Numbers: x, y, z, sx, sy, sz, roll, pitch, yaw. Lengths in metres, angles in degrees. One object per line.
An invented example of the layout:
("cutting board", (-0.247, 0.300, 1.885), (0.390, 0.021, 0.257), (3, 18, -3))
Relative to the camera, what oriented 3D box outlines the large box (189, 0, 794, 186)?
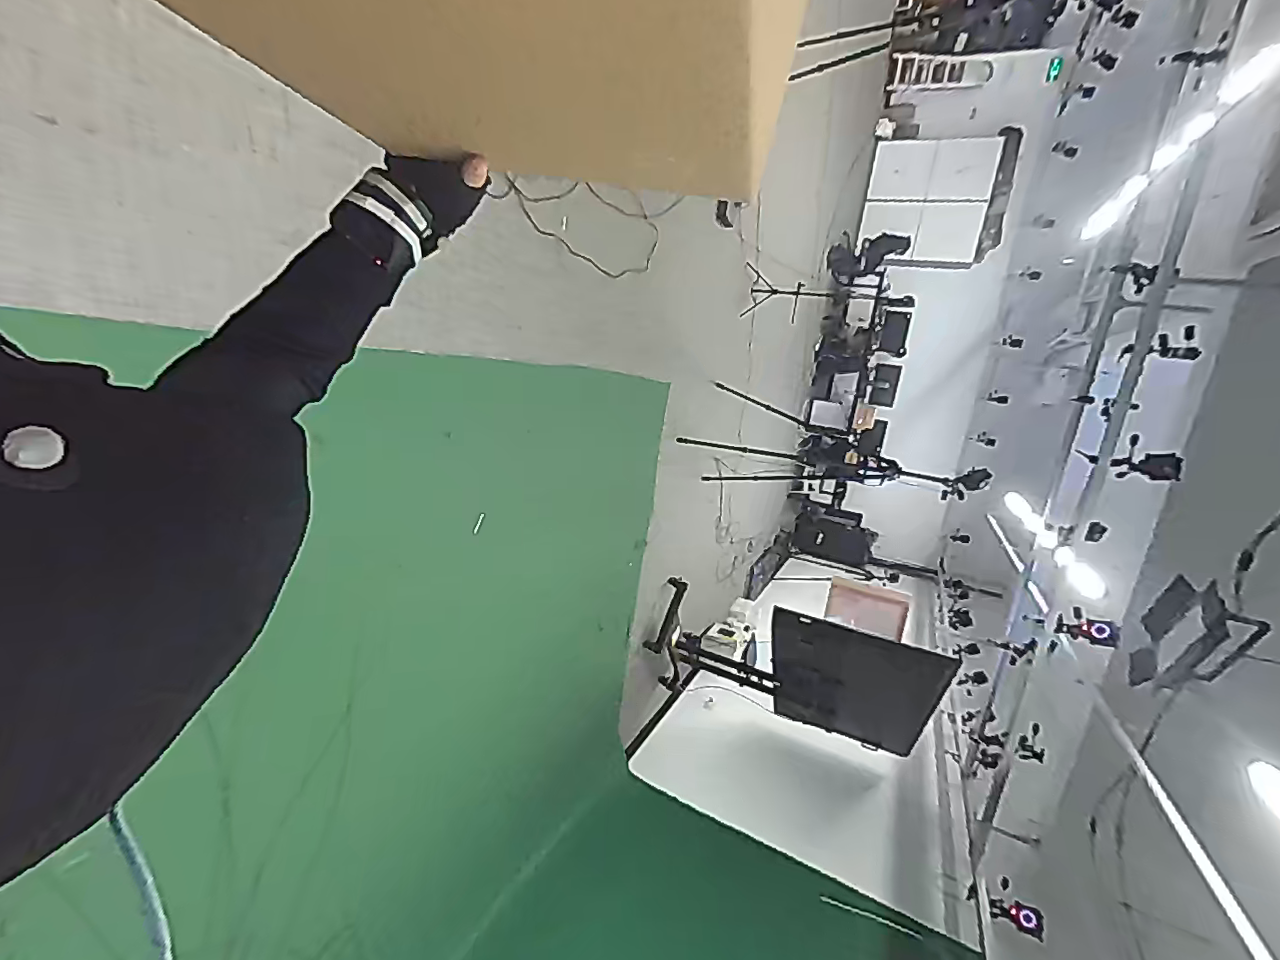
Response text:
("large box", (-0.073, -0.365, 0.218), (0.408, 0.320, 0.320), (-46, 149, -75))
